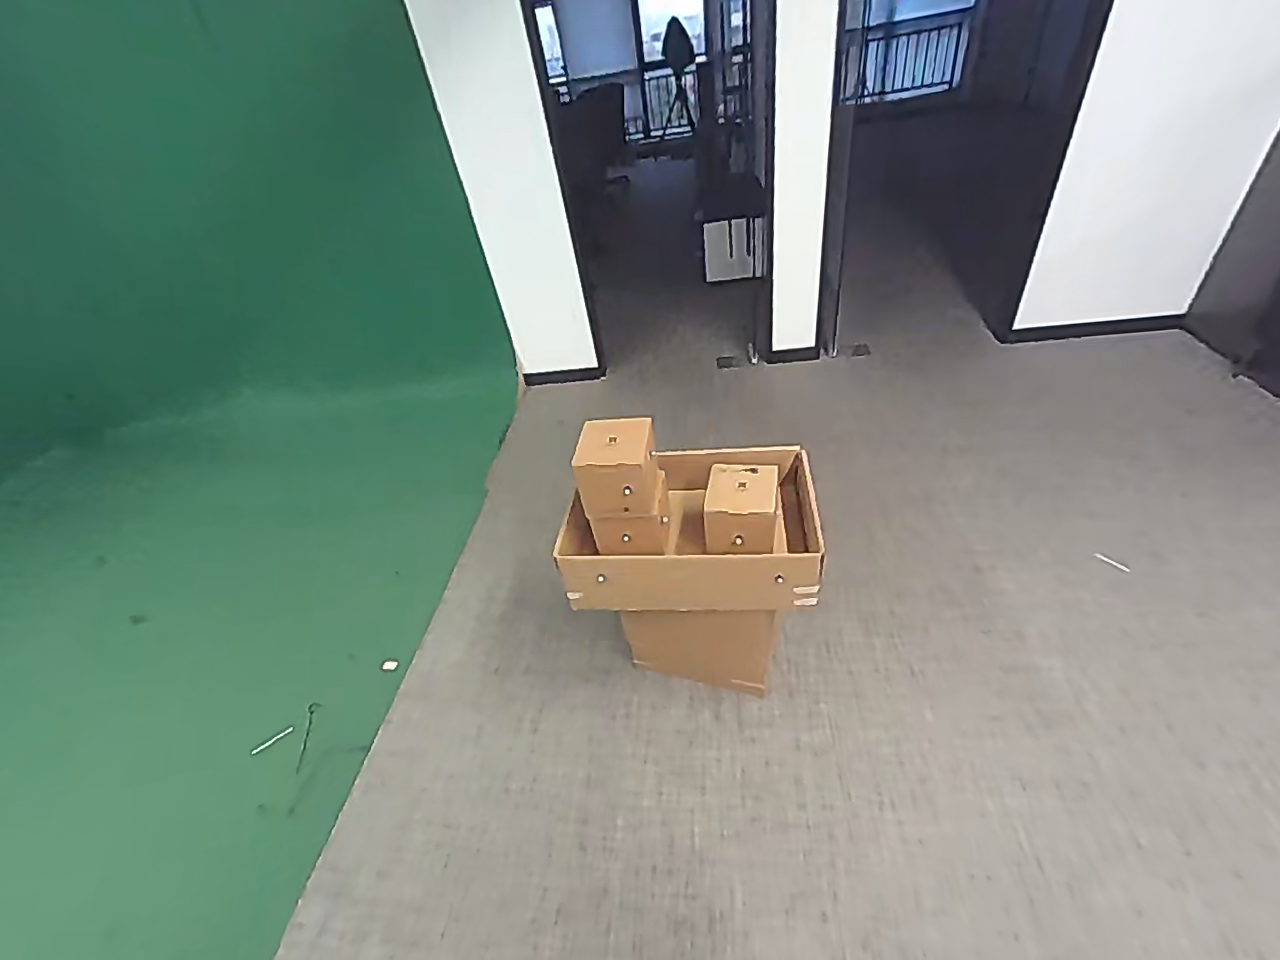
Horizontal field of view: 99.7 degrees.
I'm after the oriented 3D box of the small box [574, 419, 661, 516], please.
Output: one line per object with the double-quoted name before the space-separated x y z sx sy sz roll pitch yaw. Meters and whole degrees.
"small box" -0.045 -0.025 1.304 0.168 0.176 0.179 -2 40 11
